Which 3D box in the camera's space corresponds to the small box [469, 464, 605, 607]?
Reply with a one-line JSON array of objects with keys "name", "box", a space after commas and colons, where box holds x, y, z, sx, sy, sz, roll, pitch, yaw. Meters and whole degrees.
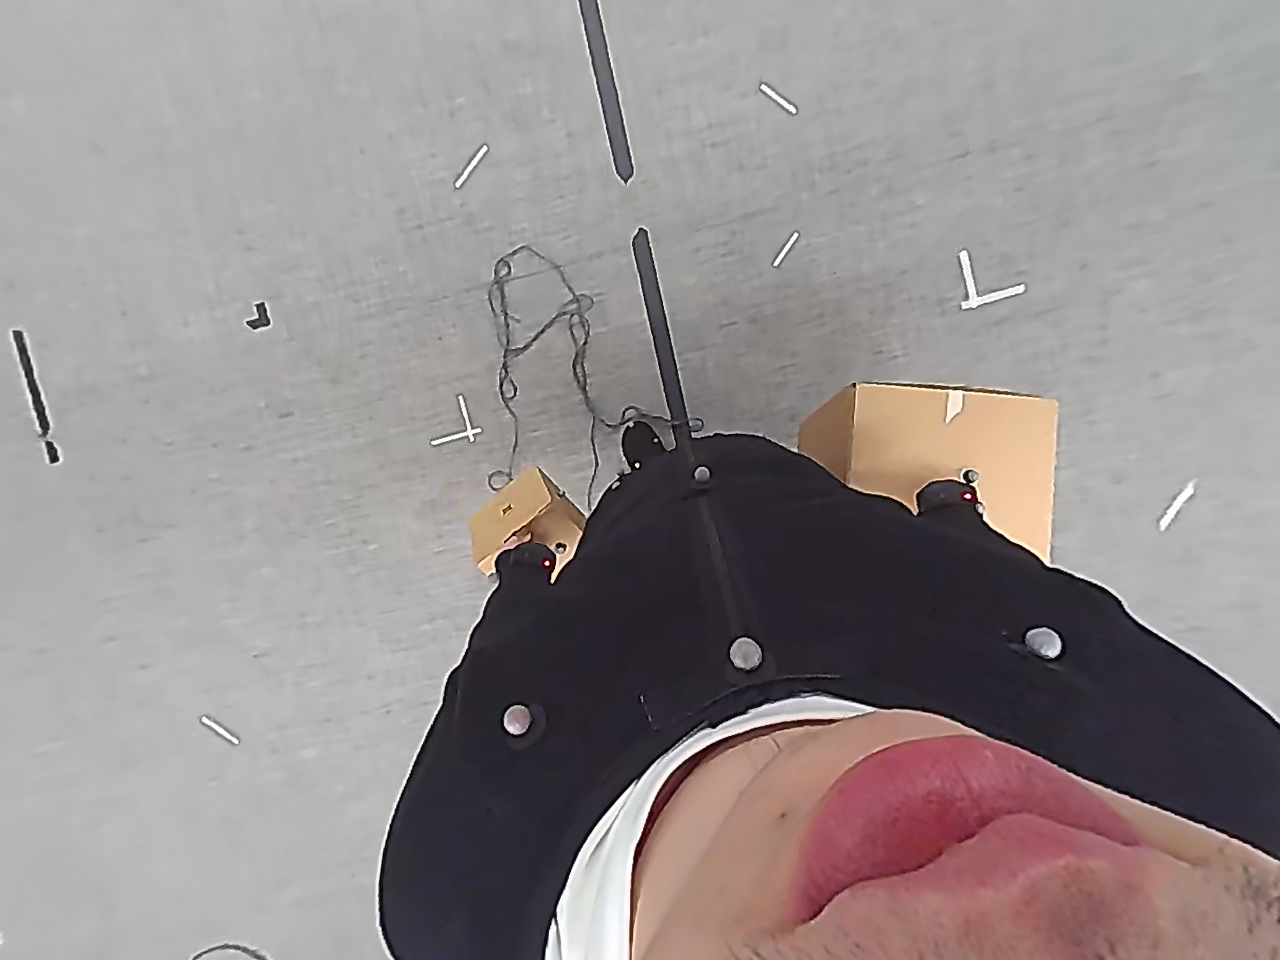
[{"name": "small box", "box": [-0.188, 0.107, 0.994, 0.168, 0.179, 0.176, -39, 122, -1]}]
